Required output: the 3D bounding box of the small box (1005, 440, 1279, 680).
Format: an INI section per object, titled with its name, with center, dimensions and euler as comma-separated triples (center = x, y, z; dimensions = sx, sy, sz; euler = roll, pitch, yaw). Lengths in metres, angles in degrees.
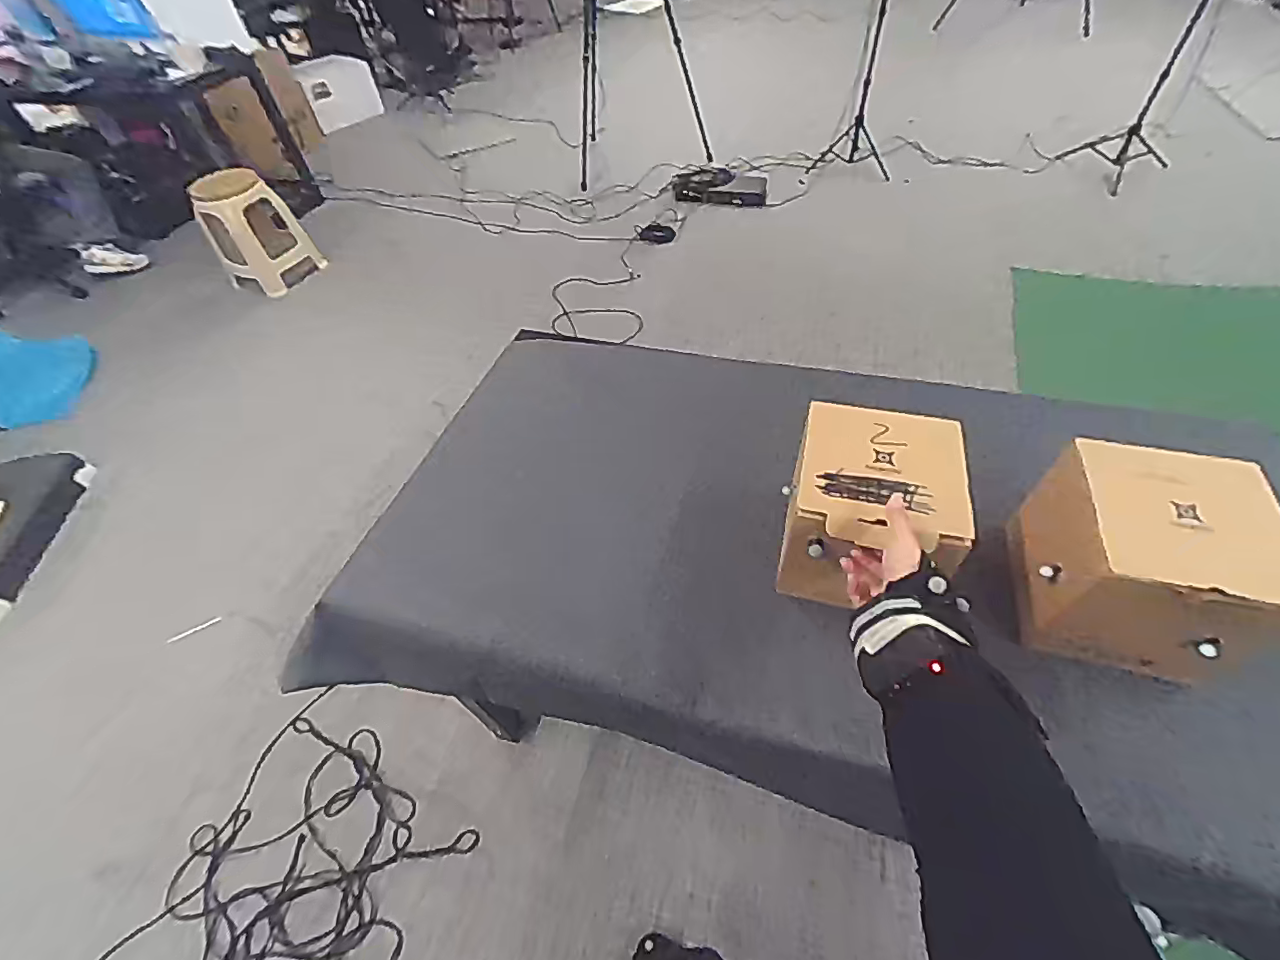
[small box]
center = 0.520, 0.087, 0.572
dimensions = 0.168, 0.176, 0.179
euler = 11, 51, 12
